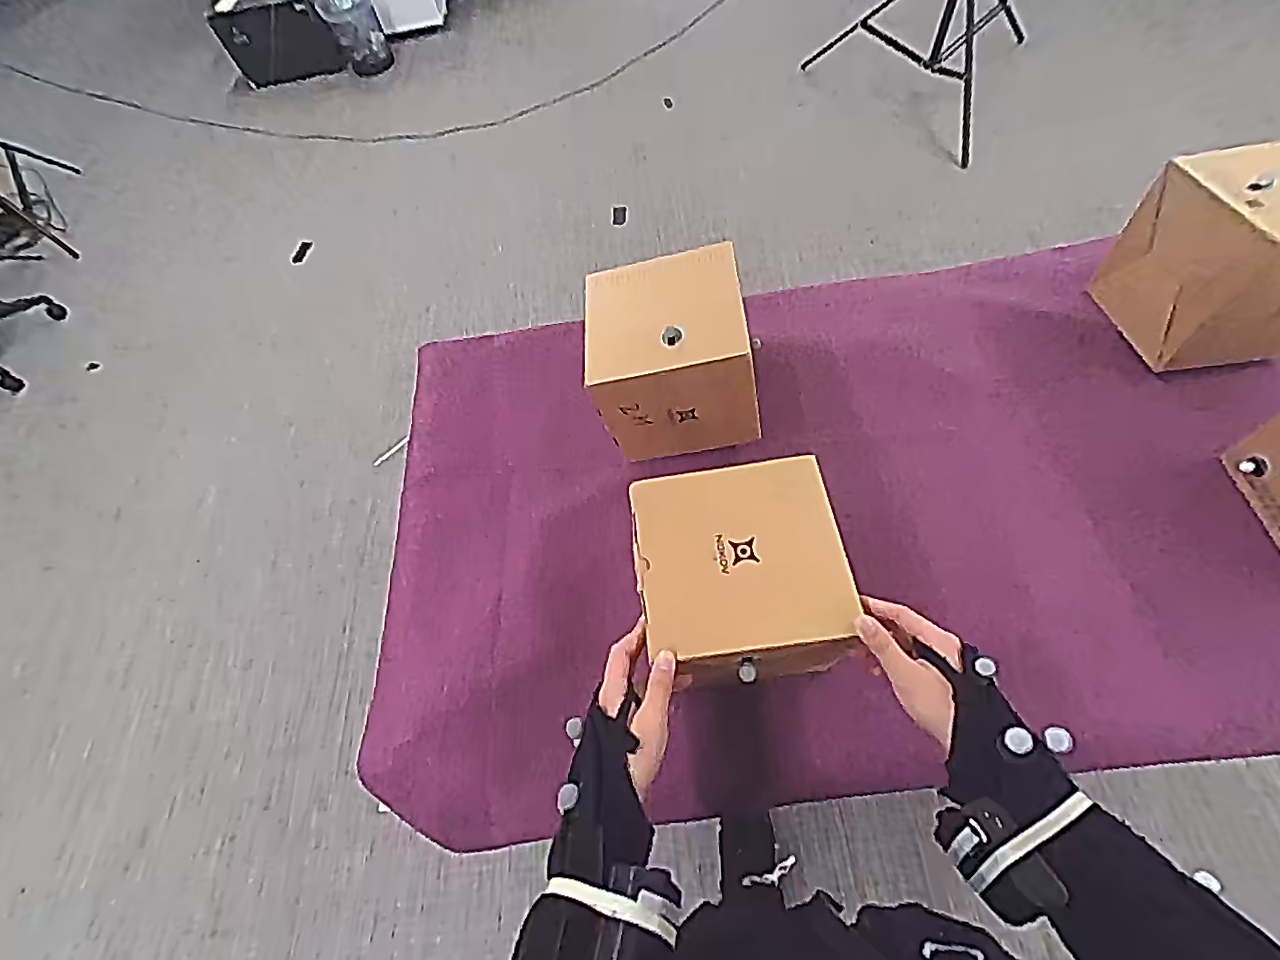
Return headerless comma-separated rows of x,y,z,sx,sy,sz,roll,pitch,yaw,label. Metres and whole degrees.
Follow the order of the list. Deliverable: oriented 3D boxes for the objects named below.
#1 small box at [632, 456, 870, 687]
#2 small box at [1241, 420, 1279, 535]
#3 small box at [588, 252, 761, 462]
0.094,0.098,0.528,0.179,0.176,0.168,-9,61,3,small box
0.730,-0.005,0.493,0.179,0.176,0.168,-5,60,5,small box
0.043,-0.144,0.650,0.179,0.168,0.176,-9,60,11,small box
